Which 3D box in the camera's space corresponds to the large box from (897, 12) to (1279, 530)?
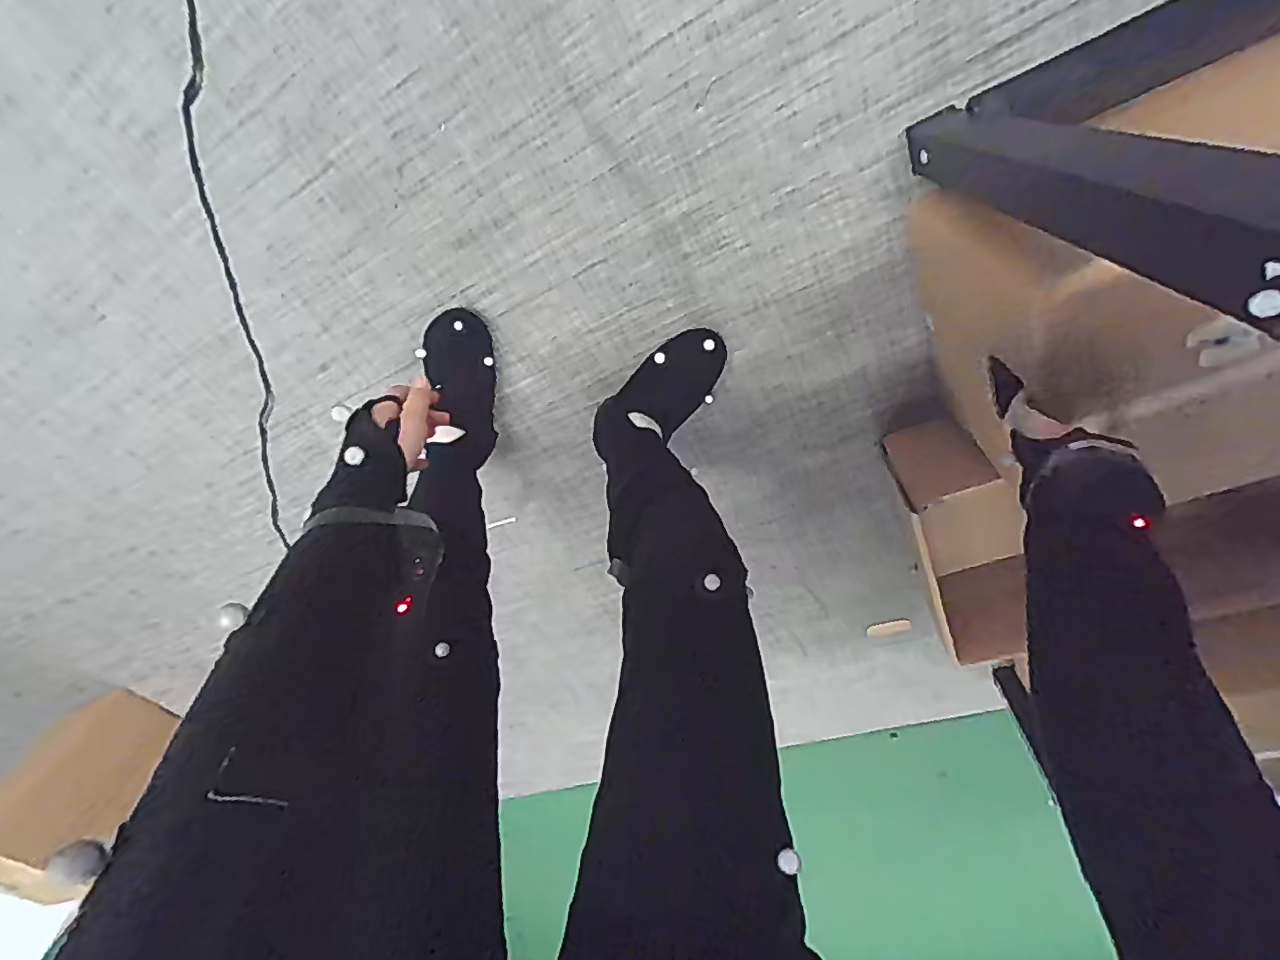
[{"bbox_3d":[0.557,-0.214,0.573,0.408,0.320,0.320,-22,121,20],"label":"large box"}]
